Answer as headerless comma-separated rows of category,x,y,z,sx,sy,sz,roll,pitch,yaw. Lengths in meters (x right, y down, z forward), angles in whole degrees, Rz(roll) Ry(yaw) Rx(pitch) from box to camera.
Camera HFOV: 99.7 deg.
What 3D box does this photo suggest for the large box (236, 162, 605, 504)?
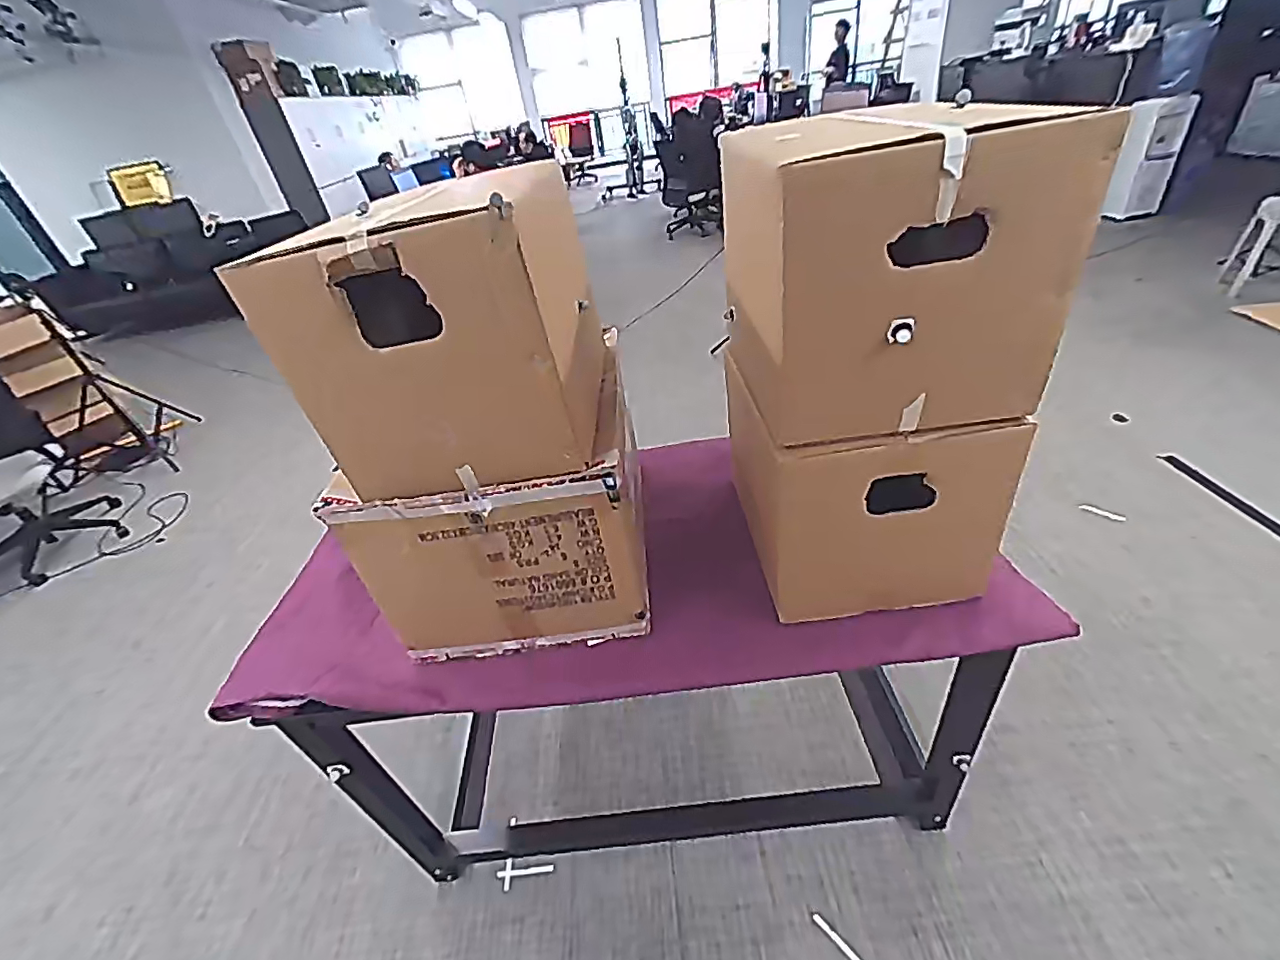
large box,-0.232,-0.225,0.766,0.320,0.320,0.408,-11,36,6
